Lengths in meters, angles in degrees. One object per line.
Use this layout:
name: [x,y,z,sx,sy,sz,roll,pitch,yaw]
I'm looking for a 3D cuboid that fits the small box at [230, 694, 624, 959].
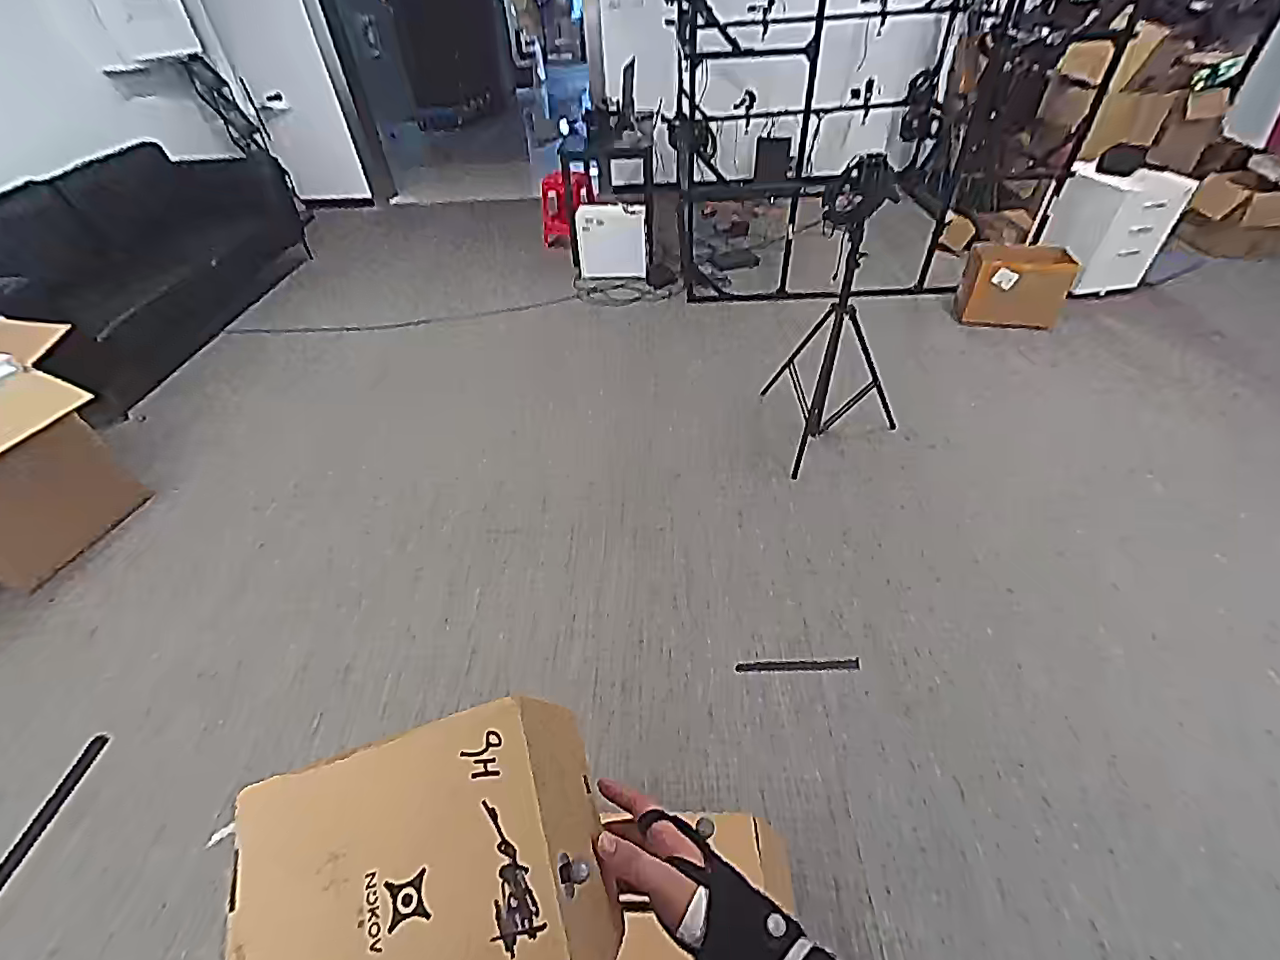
small box: [-0.122,0.256,0.353,0.179,0.176,0.168,-18,64,-3]
